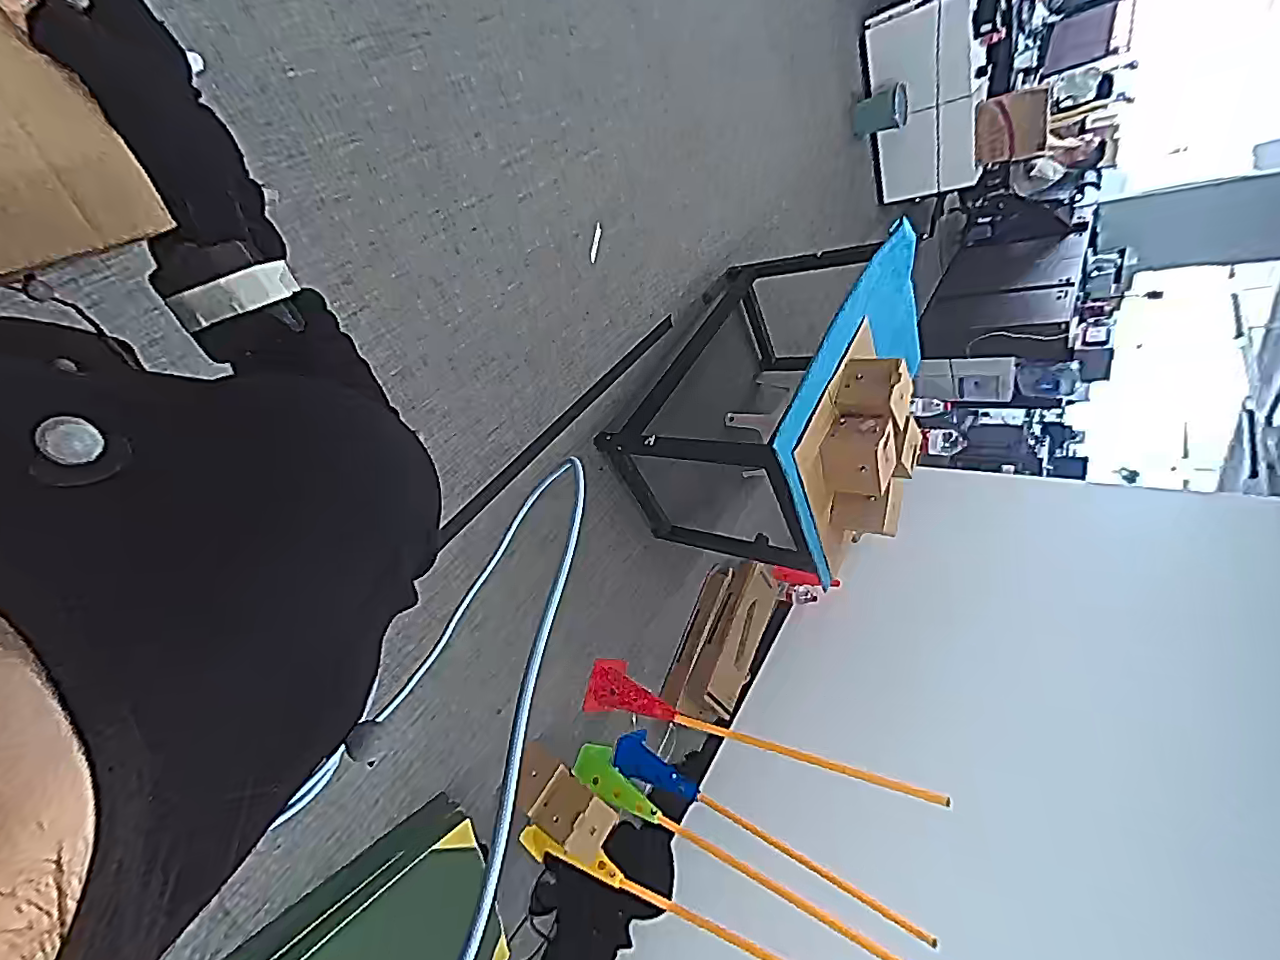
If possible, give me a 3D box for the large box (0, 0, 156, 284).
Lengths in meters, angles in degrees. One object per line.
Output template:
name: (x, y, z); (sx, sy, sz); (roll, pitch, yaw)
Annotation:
large box: (-0.549, -0.192, 0.217); (0.408, 0.320, 0.320); (-43, 131, -35)
